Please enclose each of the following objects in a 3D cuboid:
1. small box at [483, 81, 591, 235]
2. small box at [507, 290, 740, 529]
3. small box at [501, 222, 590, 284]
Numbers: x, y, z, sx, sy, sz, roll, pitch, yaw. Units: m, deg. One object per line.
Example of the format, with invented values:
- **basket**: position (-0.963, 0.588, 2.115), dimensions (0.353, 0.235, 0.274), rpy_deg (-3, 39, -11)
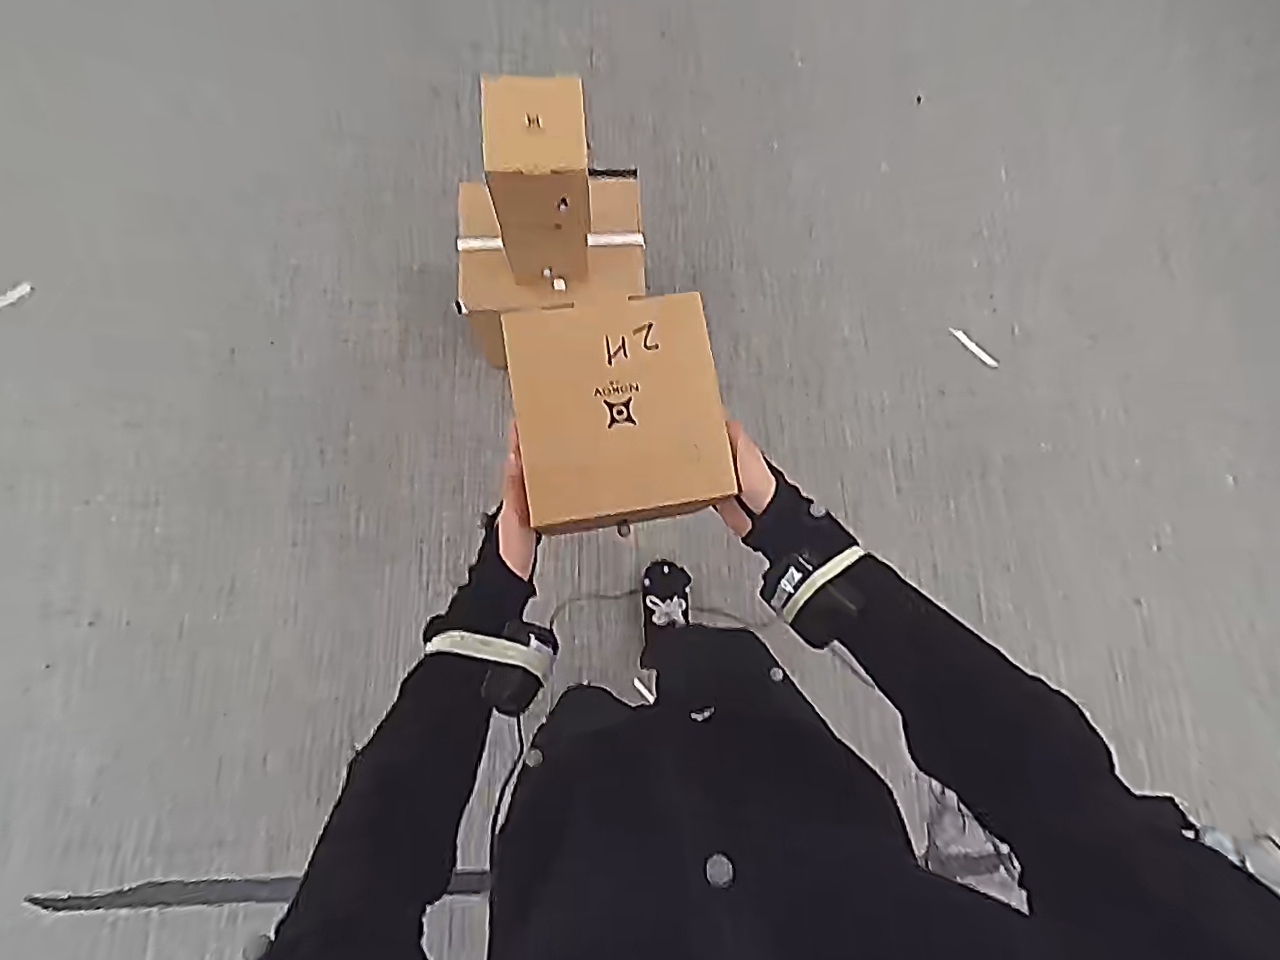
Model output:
- **small box**: position (-0.173, -0.551, 0.947), dimensions (0.168, 0.176, 0.179), rpy_deg (-4, 79, -5)
- **small box**: position (-0.021, -0.051, 0.507), dimensions (0.168, 0.176, 0.179), rpy_deg (-9, 82, -8)
- **small box**: position (-0.189, -0.527, 1.108), dimensions (0.168, 0.176, 0.179), rpy_deg (-4, 80, -4)
